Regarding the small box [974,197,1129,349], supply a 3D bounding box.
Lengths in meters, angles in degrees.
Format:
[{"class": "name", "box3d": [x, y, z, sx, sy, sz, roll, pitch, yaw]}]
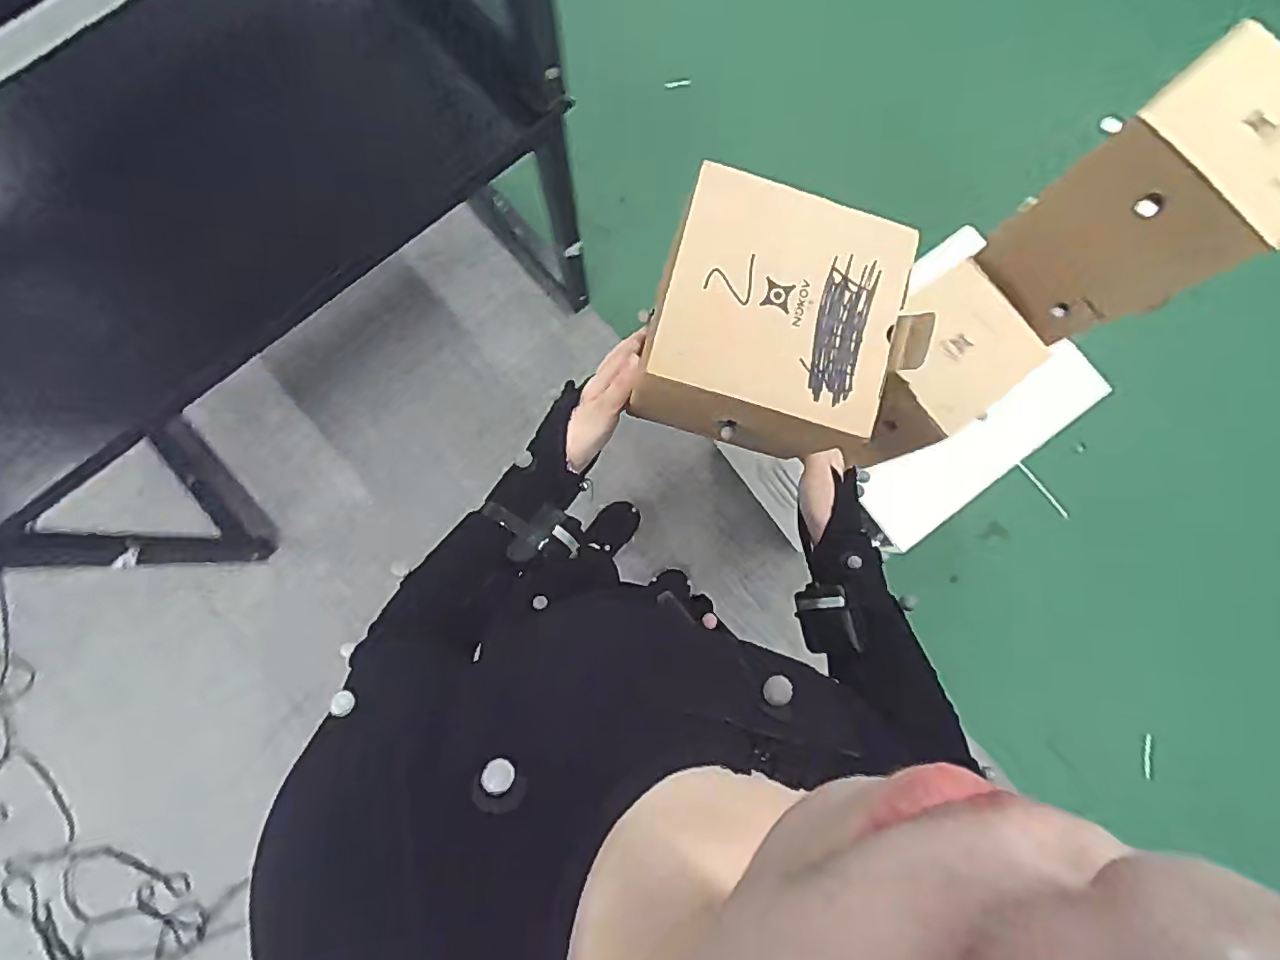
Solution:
[{"class": "small box", "box3d": [0.580, -0.289, 0.736, 0.168, 0.176, 0.179, -32, 85, -6]}]

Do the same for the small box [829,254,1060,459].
[{"class": "small box", "box3d": [0.375, -0.146, 0.710, 0.179, 0.176, 0.168, -36, 86, -7]}]

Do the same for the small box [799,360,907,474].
[{"class": "small box", "box3d": [0.388, -0.129, 0.871, 0.168, 0.176, 0.179, -33, 85, -6]}]

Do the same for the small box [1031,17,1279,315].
[{"class": "small box", "box3d": [0.577, -0.311, 0.573, 0.168, 0.176, 0.179, -40, 86, -5]}]
